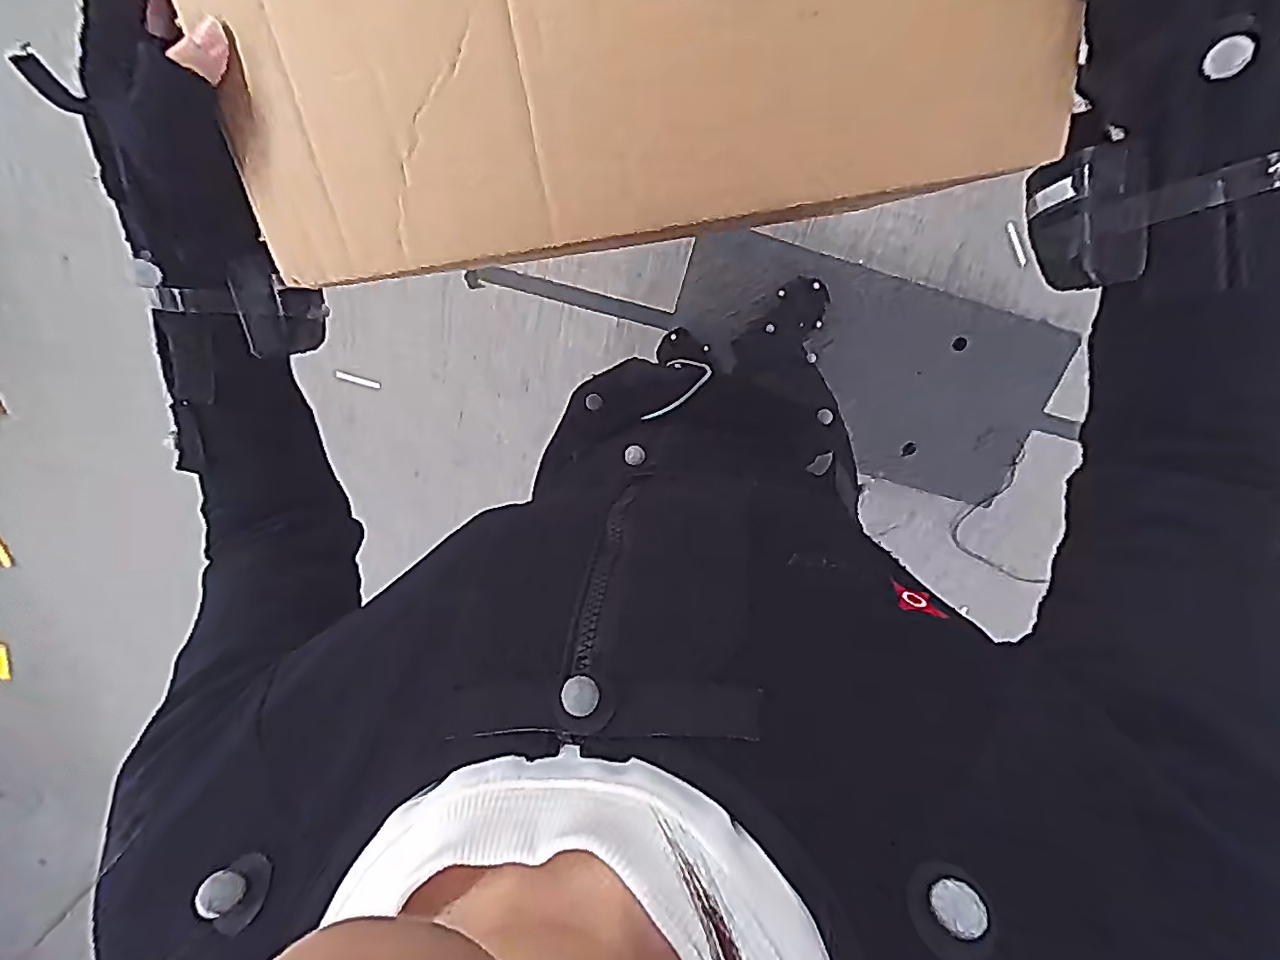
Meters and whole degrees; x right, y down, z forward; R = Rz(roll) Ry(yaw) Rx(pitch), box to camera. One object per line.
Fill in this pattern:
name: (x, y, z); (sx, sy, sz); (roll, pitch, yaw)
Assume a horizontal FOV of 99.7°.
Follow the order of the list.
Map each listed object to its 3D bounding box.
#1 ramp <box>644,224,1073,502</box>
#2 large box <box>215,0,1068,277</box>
ramp: (0.550, -0.278, 1.383); (0.991, 0.206, 0.509); (16, 109, 4)
large box: (-0.005, -0.338, 0.368); (0.408, 0.320, 0.320); (-5, 114, 10)
